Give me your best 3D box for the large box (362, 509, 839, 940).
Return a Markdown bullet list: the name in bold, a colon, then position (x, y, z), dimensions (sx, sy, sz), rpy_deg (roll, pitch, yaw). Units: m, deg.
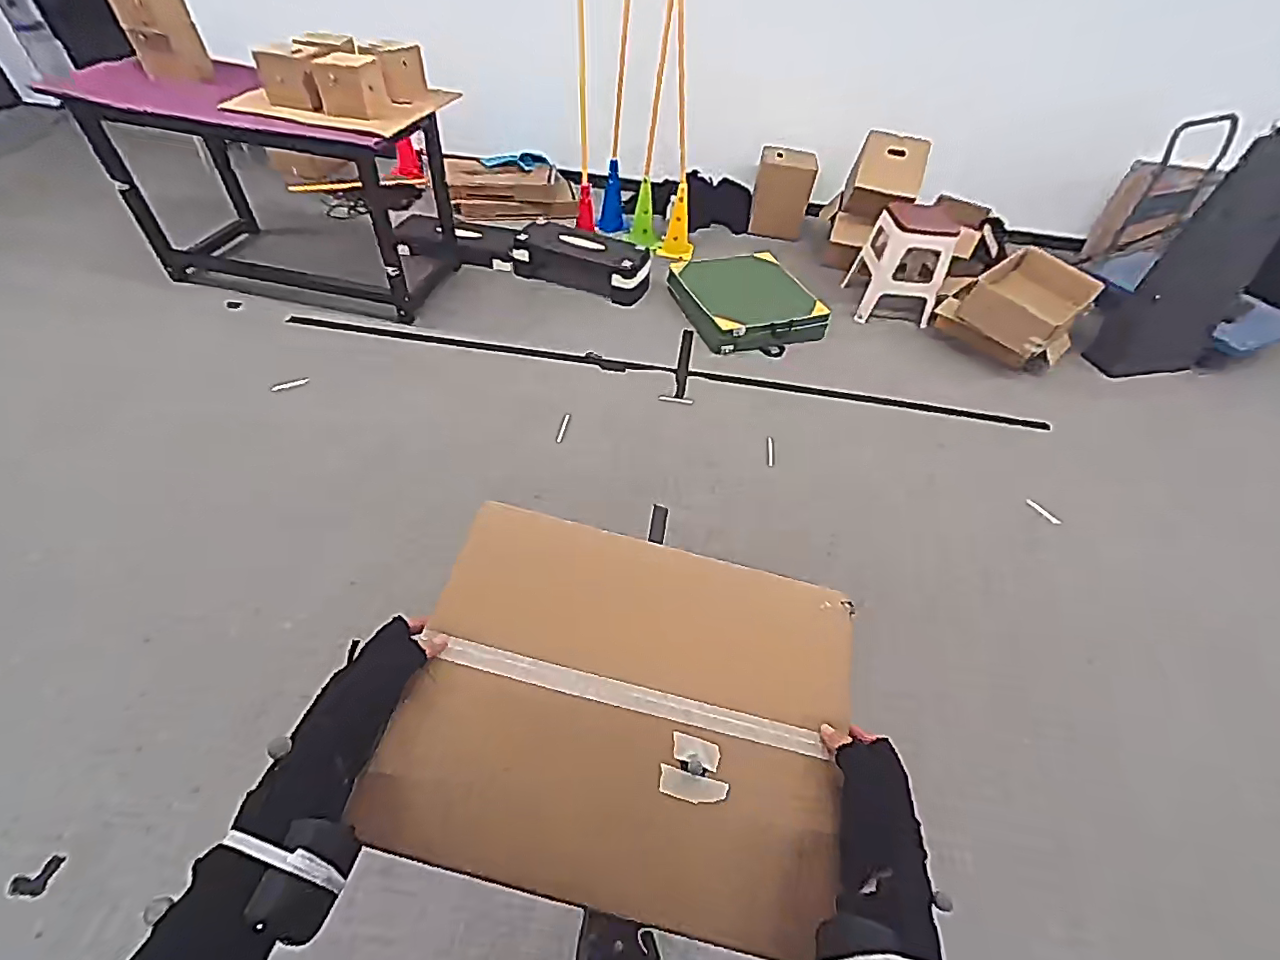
- **large box**: position (-0.025, 0.277, 0.641), dimensions (0.408, 0.320, 0.320), rpy_deg (14, 59, 1)
